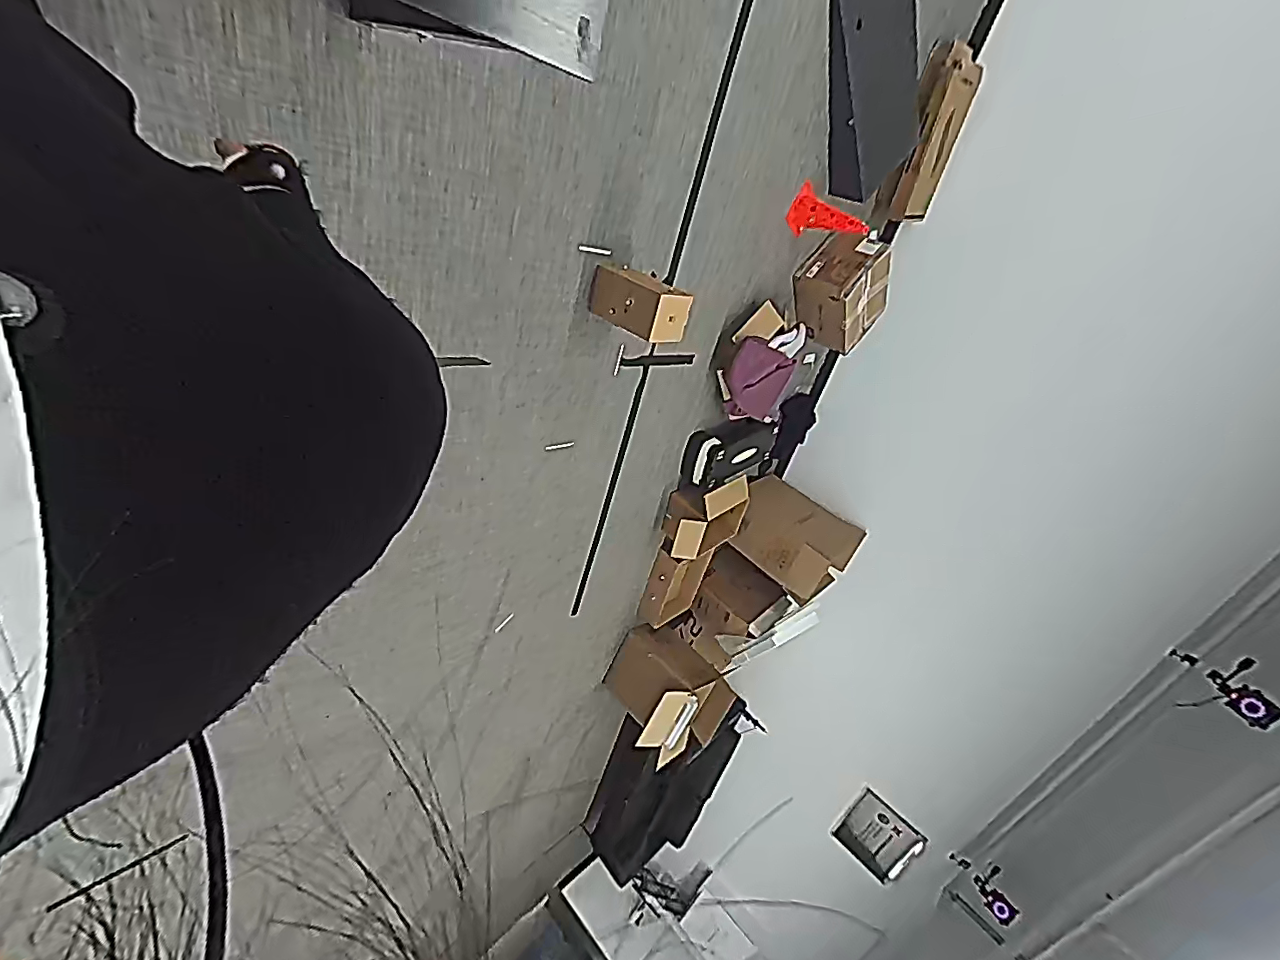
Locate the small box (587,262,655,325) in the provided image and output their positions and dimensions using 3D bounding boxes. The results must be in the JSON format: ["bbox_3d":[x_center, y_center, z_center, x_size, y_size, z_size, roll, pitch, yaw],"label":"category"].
[{"bbox_3d":[-0.075,-0.683,1.989,0.168,0.176,0.179,-18,134,-45],"label":"small box"}]

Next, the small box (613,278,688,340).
[{"bbox_3d":[0.035,-0.601,1.901,0.179,0.176,0.168,-16,131,-44],"label":"small box"}]
